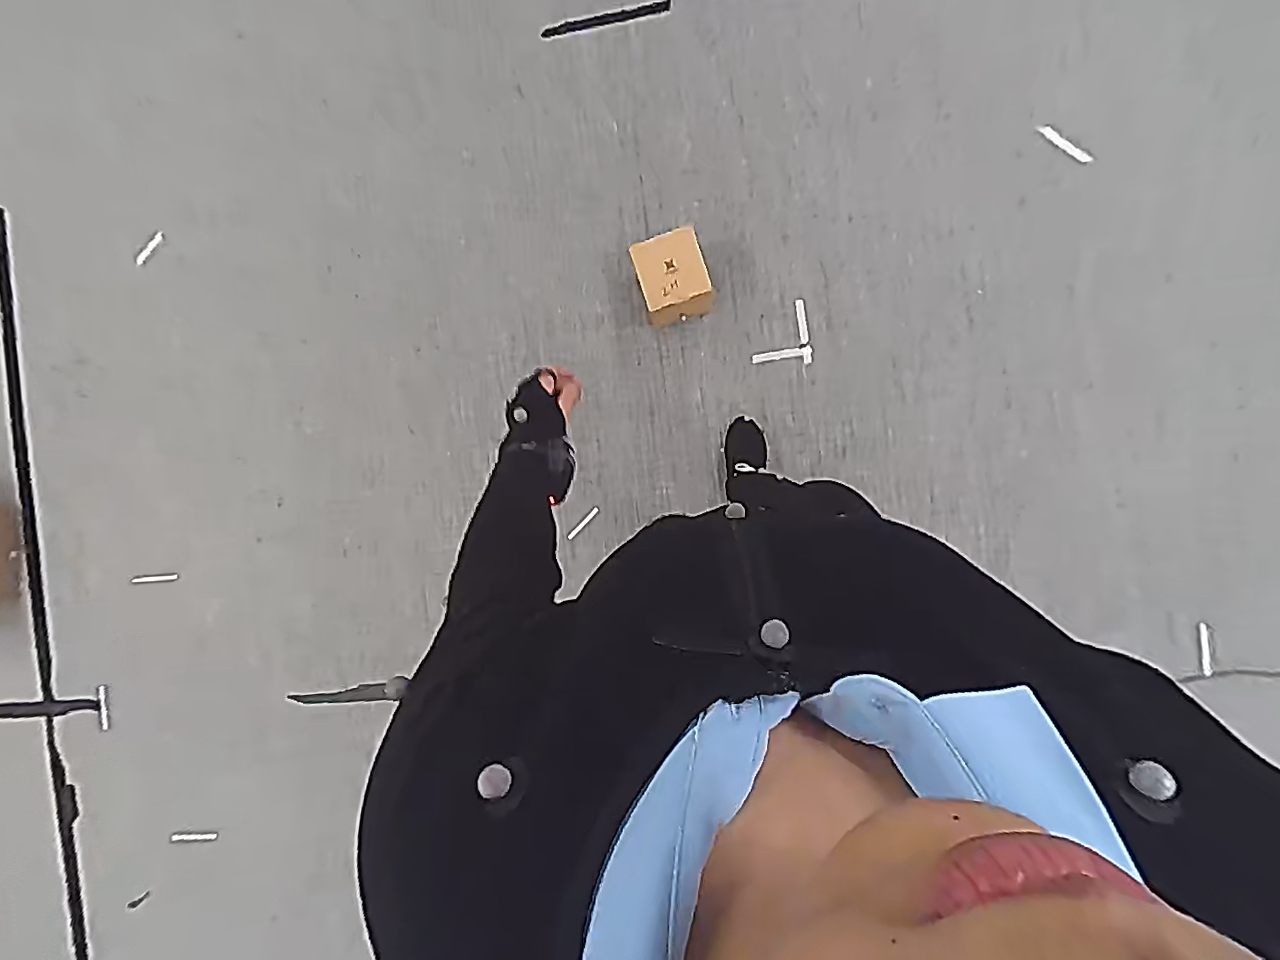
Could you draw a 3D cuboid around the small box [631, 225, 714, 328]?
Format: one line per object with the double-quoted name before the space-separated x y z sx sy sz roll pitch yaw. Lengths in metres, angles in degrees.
"small box" 0.086 -0.519 1.402 0.168 0.176 0.179 -18 89 7
